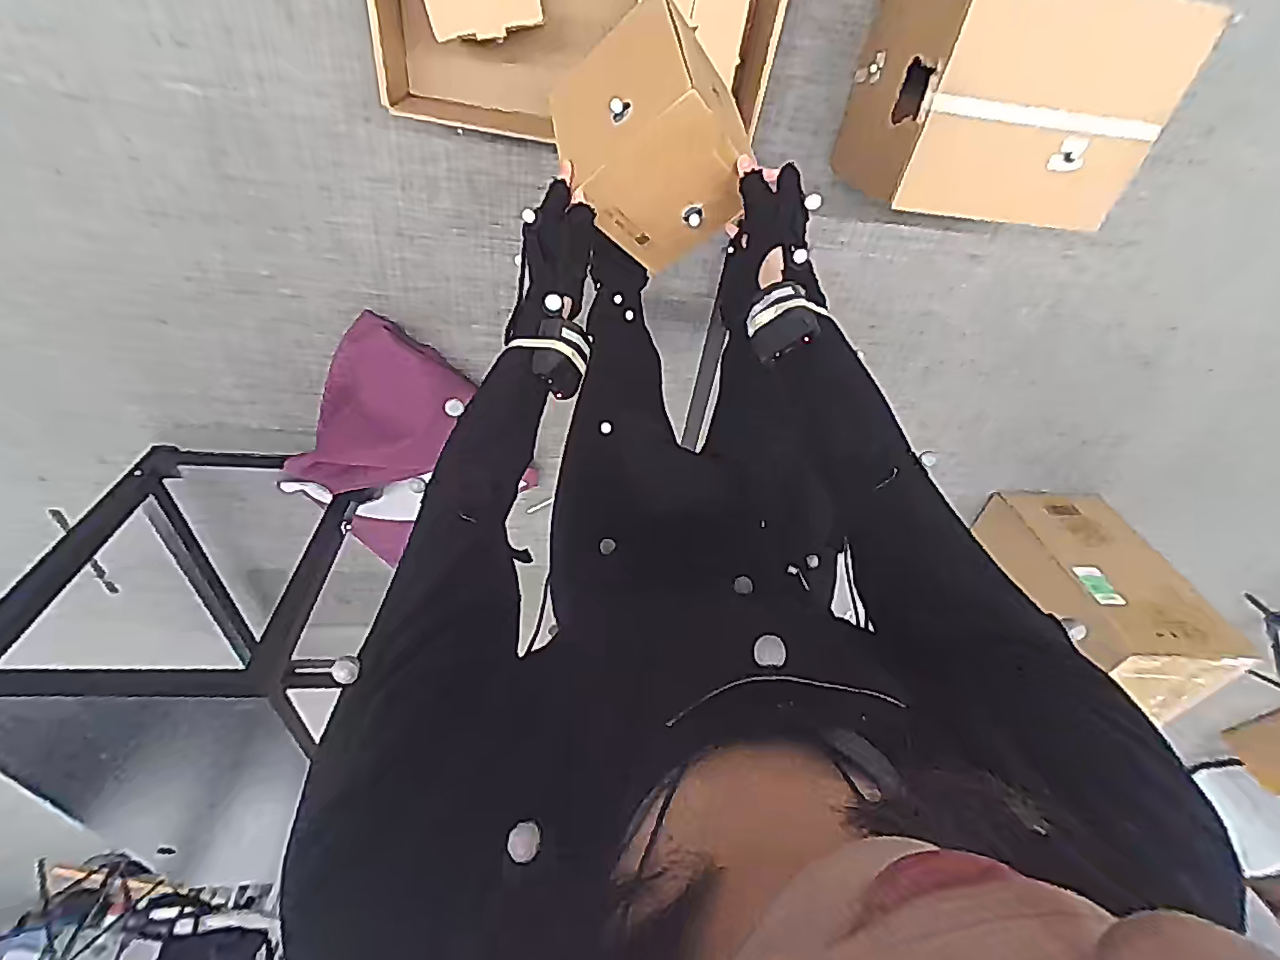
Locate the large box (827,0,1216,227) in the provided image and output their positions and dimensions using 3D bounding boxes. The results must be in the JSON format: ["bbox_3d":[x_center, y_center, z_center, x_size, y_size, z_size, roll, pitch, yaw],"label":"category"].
[{"bbox_3d":[0.616,-0.671,0.968,0.408,0.320,0.320,1,131,-9],"label":"large box"}]
